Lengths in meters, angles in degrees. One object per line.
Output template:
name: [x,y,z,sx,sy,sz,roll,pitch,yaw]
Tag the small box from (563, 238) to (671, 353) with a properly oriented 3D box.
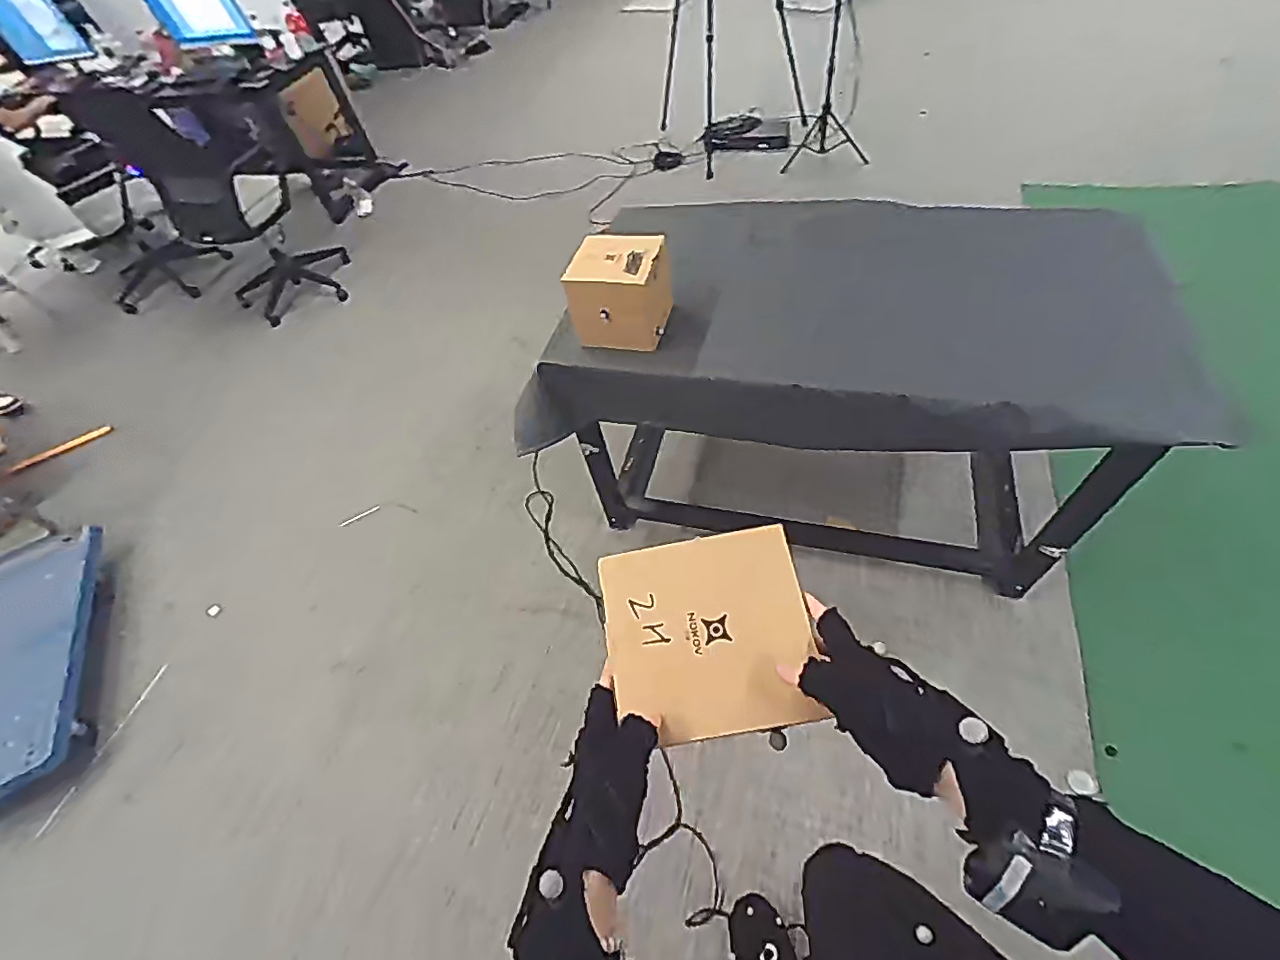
small box: [-0.038,-0.388,1.147,0.179,0.176,0.168,8,55,16]
